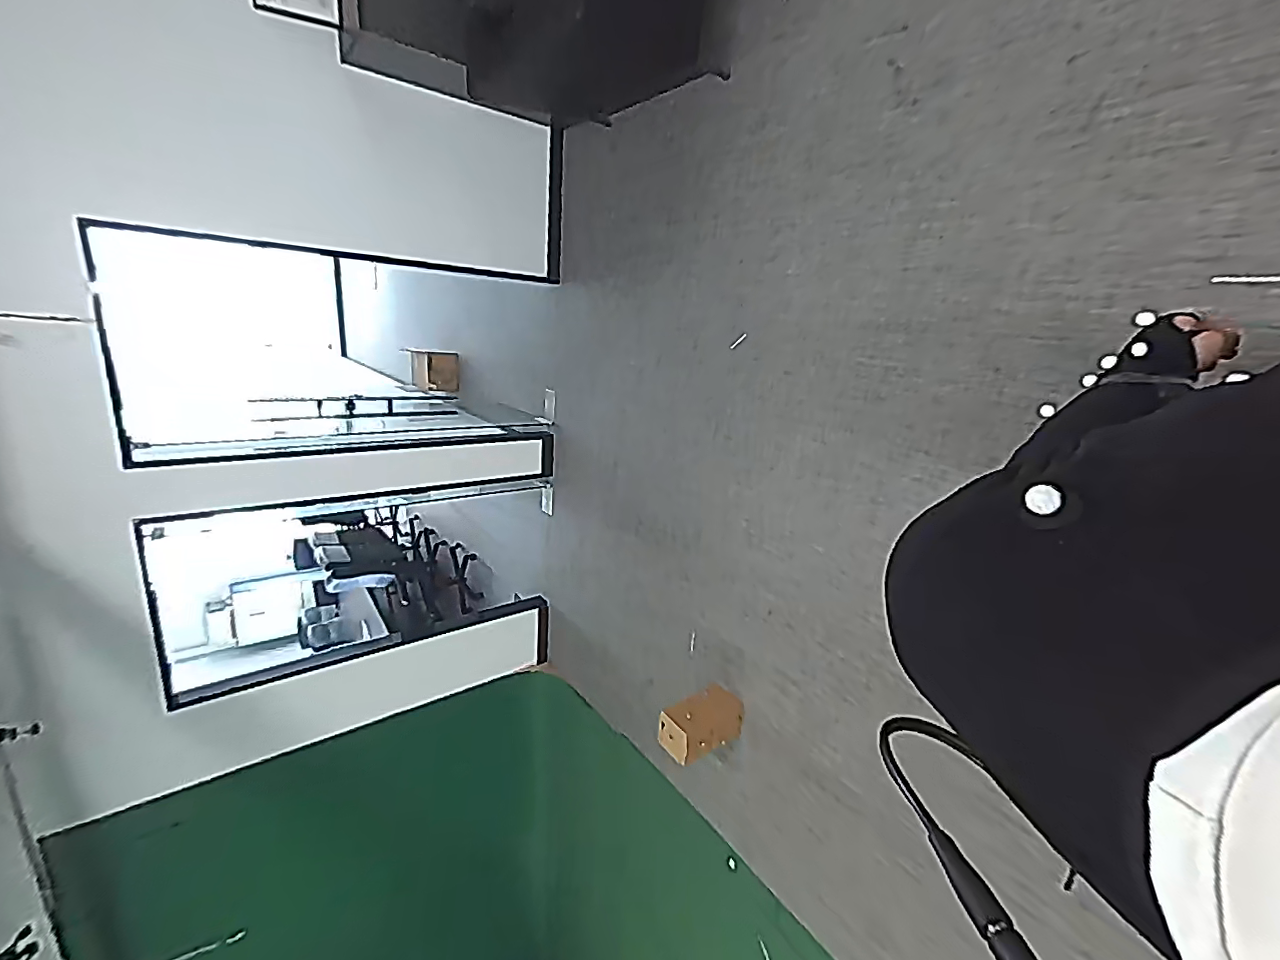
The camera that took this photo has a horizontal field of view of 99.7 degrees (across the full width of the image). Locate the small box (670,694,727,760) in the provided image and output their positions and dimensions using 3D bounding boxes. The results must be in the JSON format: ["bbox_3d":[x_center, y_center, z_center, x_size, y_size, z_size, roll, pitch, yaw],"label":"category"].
[{"bbox_3d":[0.251,1.049,2.319,0.179,0.176,0.168,24,115,49],"label":"small box"}]
